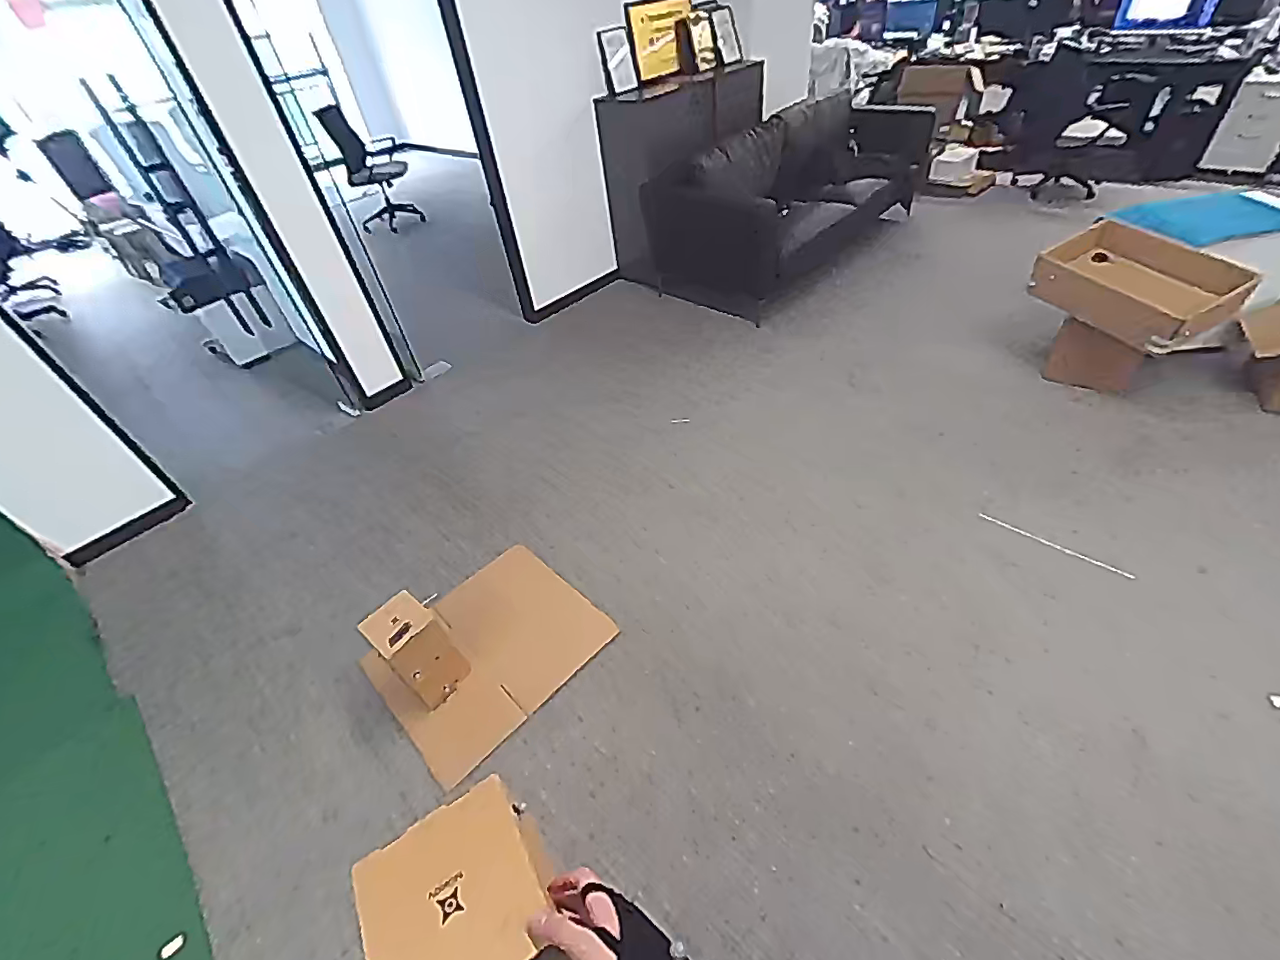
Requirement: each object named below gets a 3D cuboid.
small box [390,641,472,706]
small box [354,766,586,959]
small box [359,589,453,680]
[{"bbox_3d":[-0.673,0.586,1.729,0.179,0.176,0.168,24,52,30],"label":"small box"},{"bbox_3d":[-0.176,0.462,0.587,0.168,0.176,0.179,-28,44,-19],"label":"small box"},{"bbox_3d":[-0.692,0.467,1.618,0.179,0.176,0.168,26,53,33],"label":"small box"}]
